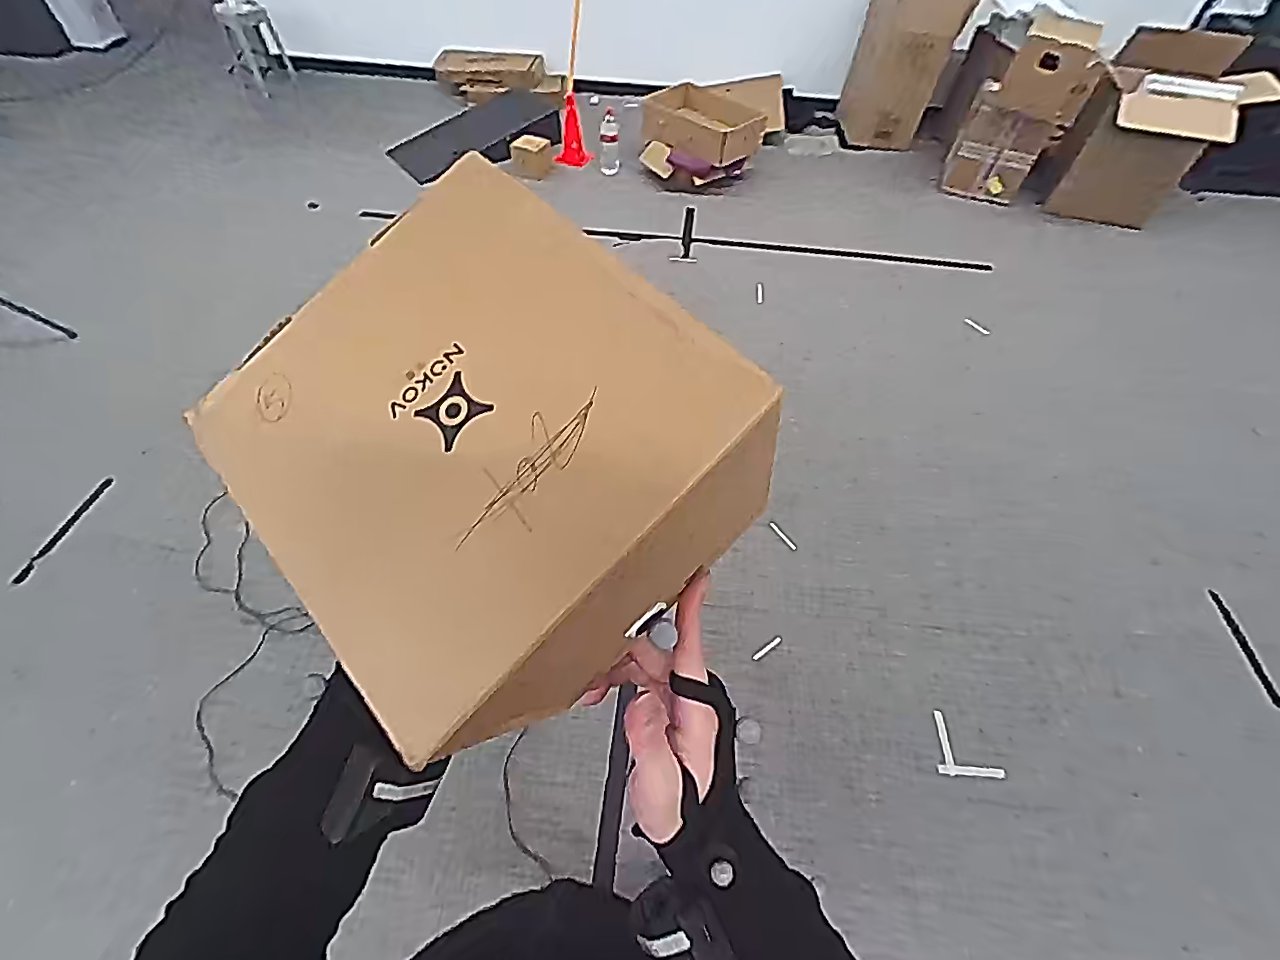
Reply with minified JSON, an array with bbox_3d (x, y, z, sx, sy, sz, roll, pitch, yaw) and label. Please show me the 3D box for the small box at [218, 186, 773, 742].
[{"bbox_3d":[-0.053,0.000,0.286,0.179,0.176,0.168,42,86,19],"label":"small box"}]
